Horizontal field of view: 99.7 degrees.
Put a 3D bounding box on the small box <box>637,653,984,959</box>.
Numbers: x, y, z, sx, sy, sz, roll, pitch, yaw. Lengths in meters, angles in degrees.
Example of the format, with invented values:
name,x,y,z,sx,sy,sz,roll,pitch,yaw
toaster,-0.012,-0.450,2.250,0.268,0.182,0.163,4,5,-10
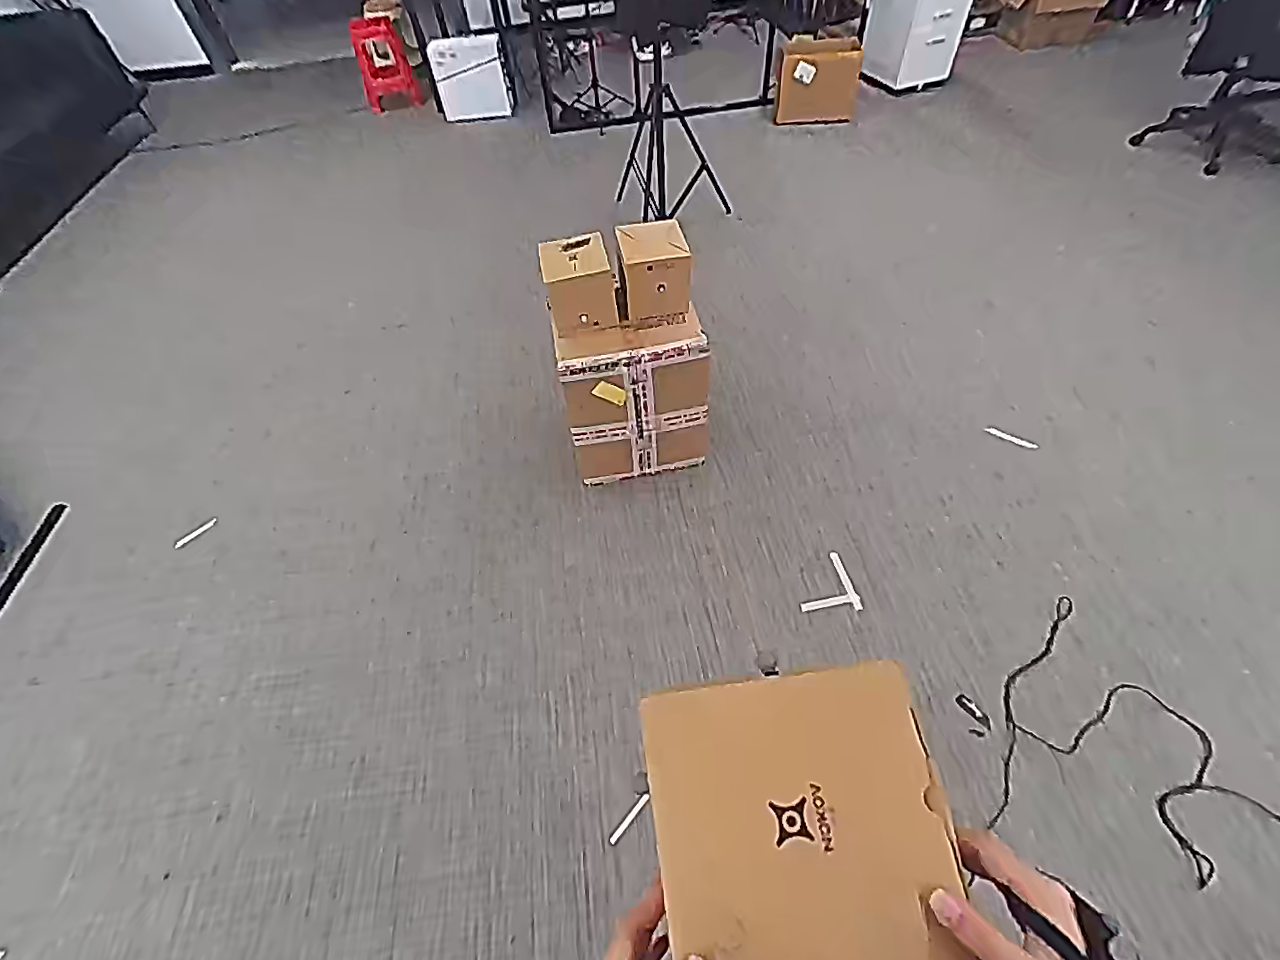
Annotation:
name,x,y,z,sx,sy,sz,roll,pitch,yaw
small box,0.098,0.230,0.400,0.179,0.176,0.168,-9,69,-1

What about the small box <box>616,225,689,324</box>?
name,x,y,z,sx,sy,sz,roll,pitch,yaw
small box,0.030,-0.542,1.421,0.168,0.176,0.179,-9,54,-6

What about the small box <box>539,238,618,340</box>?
name,x,y,z,sx,sy,sz,roll,pitch,yaw
small box,-0.159,-0.494,1.405,0.168,0.176,0.179,-13,54,-2
